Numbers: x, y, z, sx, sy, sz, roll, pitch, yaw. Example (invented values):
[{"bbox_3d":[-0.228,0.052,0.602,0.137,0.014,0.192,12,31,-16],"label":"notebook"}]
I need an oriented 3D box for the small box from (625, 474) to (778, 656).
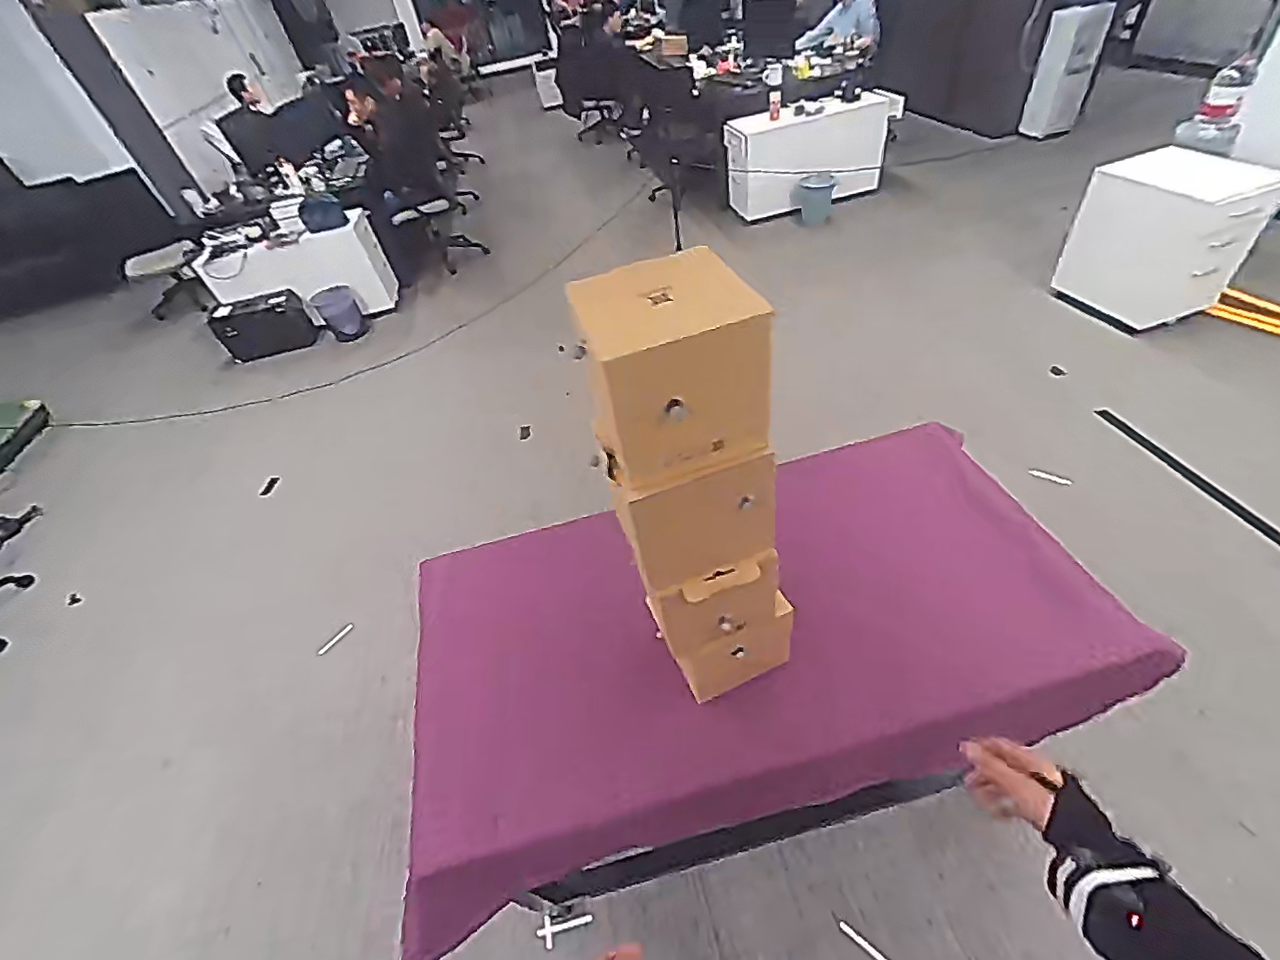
[{"bbox_3d":[0.088,0.125,0.801,0.168,0.176,0.179,-19,45,-6],"label":"small box"}]

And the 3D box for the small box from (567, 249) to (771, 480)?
[{"bbox_3d":[0.033,-0.120,0.591,0.168,0.176,0.179,-18,44,-6],"label":"small box"}]

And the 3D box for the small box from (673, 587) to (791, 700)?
[{"bbox_3d":[0.136,0.239,0.912,0.179,0.176,0.168,-22,46,-11],"label":"small box"}]
